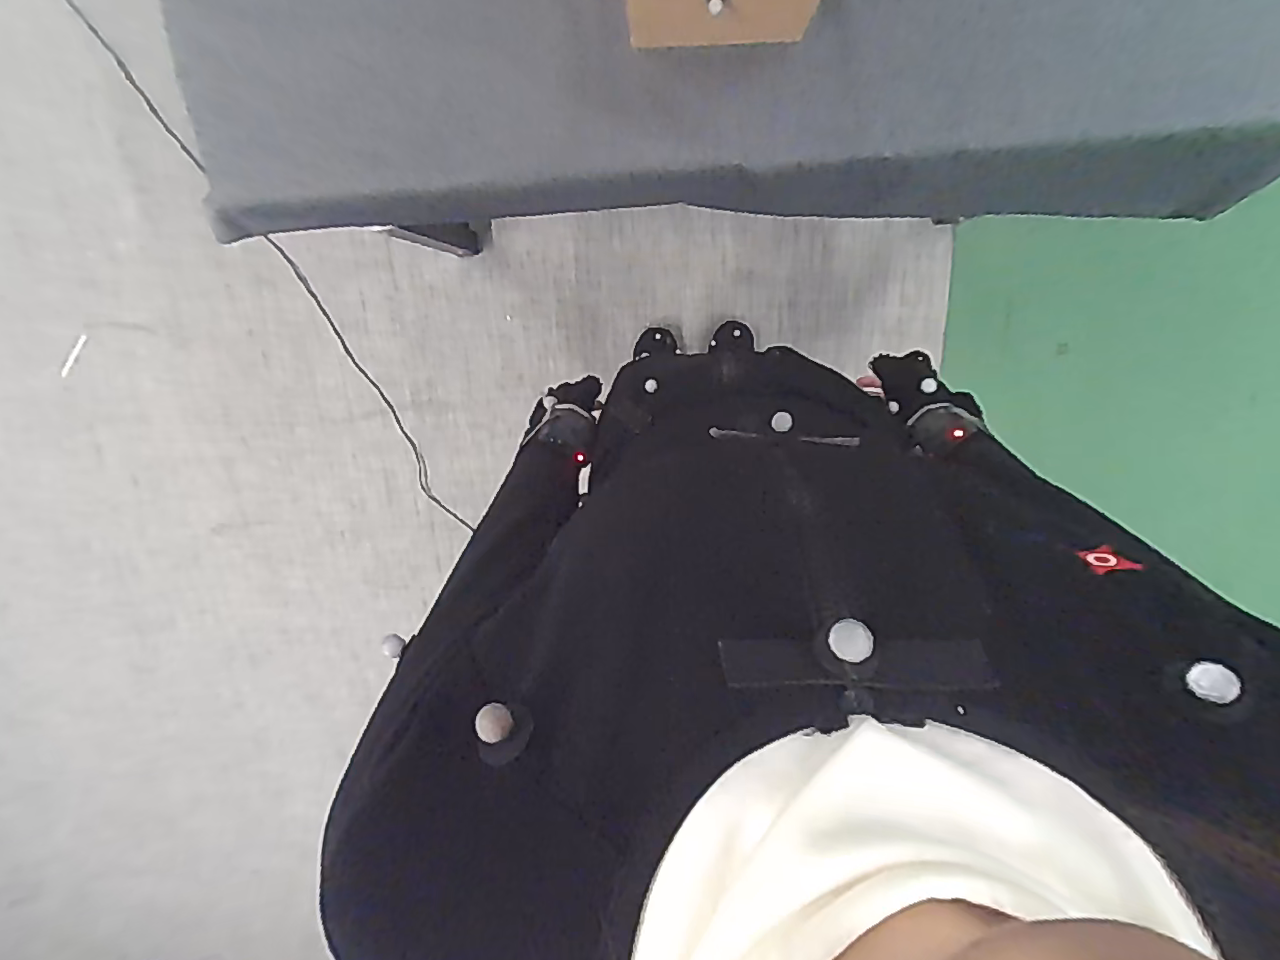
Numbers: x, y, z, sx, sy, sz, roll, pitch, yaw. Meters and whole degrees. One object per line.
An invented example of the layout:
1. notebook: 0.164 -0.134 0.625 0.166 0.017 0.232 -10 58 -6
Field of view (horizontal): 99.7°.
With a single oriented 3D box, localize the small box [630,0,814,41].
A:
1. small box: 0.076 -0.505 0.453 0.179 0.176 0.168 0 107 3
